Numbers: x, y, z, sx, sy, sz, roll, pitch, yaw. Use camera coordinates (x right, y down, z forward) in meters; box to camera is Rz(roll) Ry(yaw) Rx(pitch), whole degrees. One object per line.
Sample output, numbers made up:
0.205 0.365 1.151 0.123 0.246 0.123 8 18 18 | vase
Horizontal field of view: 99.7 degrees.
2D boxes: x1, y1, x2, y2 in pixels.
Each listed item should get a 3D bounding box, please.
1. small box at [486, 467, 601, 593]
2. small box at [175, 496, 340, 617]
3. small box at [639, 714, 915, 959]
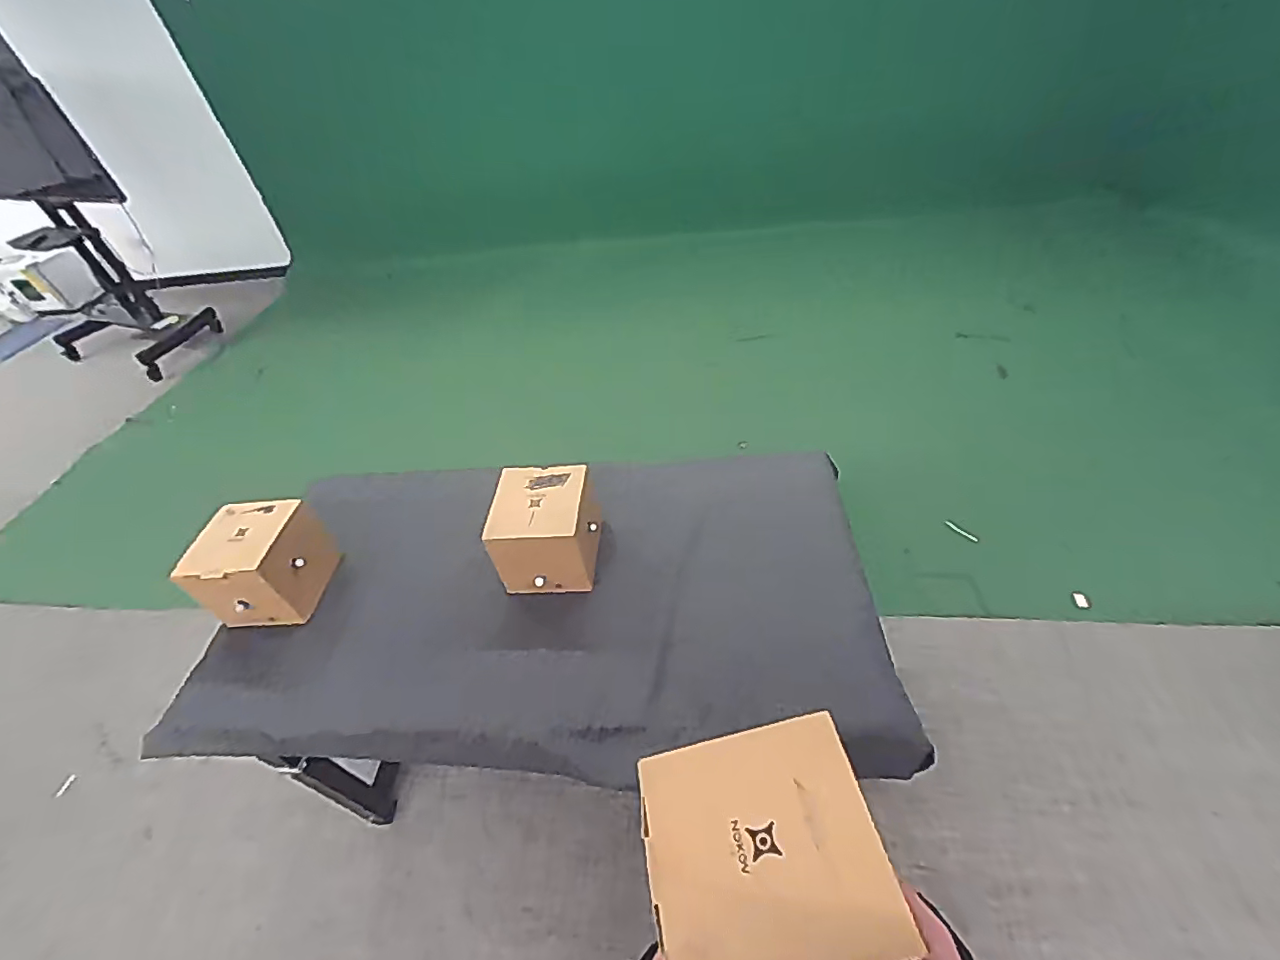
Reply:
-0.172 0.095 1.030 0.168 0.176 0.179 -2 46 6 | small box
-0.721 0.153 1.047 0.168 0.176 0.179 -3 45 5 | small box
0.112 0.339 0.477 0.179 0.176 0.168 -16 43 3 | small box
